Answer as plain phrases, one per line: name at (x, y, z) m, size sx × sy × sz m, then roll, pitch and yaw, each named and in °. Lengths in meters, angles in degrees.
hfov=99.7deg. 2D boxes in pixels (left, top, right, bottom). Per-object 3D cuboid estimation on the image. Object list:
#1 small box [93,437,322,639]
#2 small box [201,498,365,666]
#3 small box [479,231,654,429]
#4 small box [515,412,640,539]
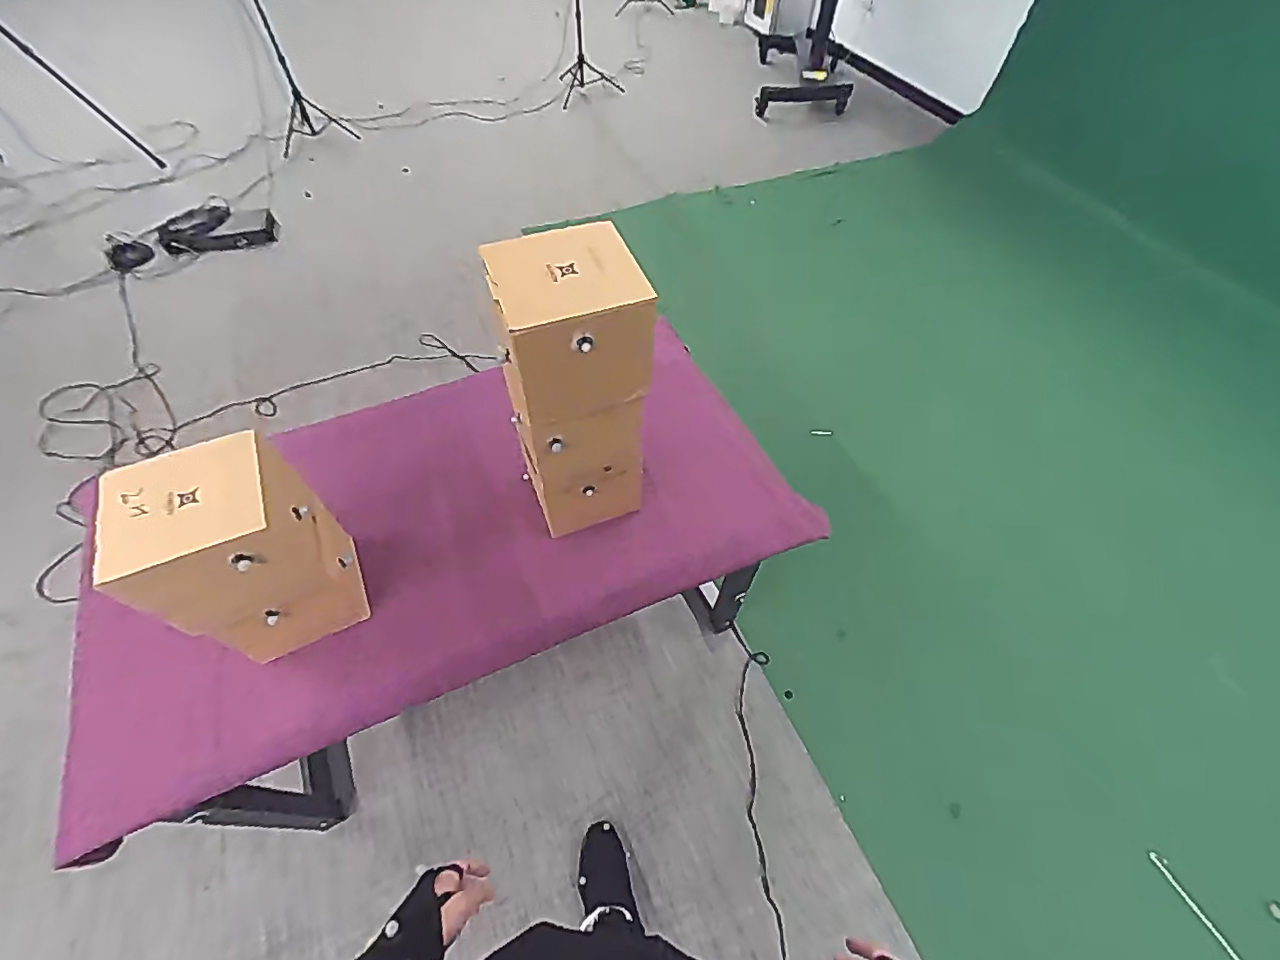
small box at (-0.540, 0.078, 0.702) m, size 0.179 × 0.176 × 0.168 m, roll -21°, pitch 58°, yaw -15°
small box at (-0.554, 0.162, 0.845) m, size 0.179 × 0.176 × 0.168 m, roll -23°, pitch 59°, yaw -16°
small box at (-0.091, -0.190, 0.704) m, size 0.179 × 0.176 × 0.168 m, roll -17°, pitch 58°, yaw -13°
small box at (-0.109, -0.017, 0.981) m, size 0.179 × 0.176 × 0.168 m, roll -18°, pitch 58°, yaw -15°
